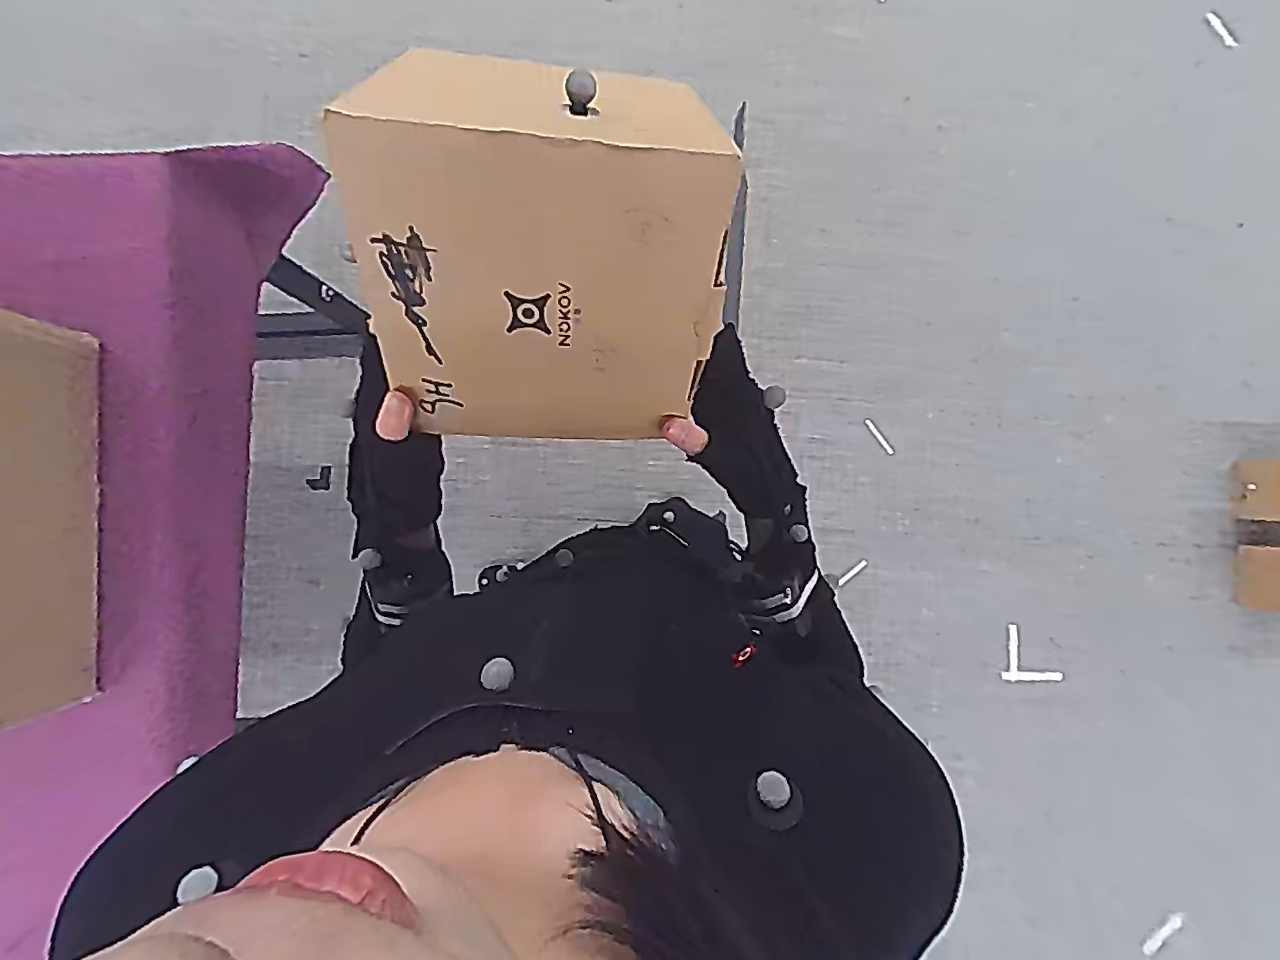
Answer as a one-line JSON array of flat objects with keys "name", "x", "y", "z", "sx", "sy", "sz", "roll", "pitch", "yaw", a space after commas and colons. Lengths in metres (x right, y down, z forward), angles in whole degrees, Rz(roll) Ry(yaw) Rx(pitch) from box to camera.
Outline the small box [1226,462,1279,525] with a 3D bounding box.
[{"name": "small box", "x": 1.783, "y": 0.040, "z": 1.479, "sx": 0.179, "sy": 0.176, "sz": 0.168, "roll": 5, "pitch": 88, "yaw": 0}]

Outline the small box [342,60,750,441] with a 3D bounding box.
[{"name": "small box", "x": -0.053, "y": -0.142, "z": 0.339, "sx": 0.179, "sy": 0.168, "sz": 0.176, "roll": 2, "pitch": 44, "yaw": -8}]

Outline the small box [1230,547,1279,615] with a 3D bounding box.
[{"name": "small box", "x": 1.775, "y": 0.278, "z": 1.472, "sx": 0.168, "sy": 0.176, "sz": 0.179, "roll": 1, "pitch": 89, "yaw": 1}]
